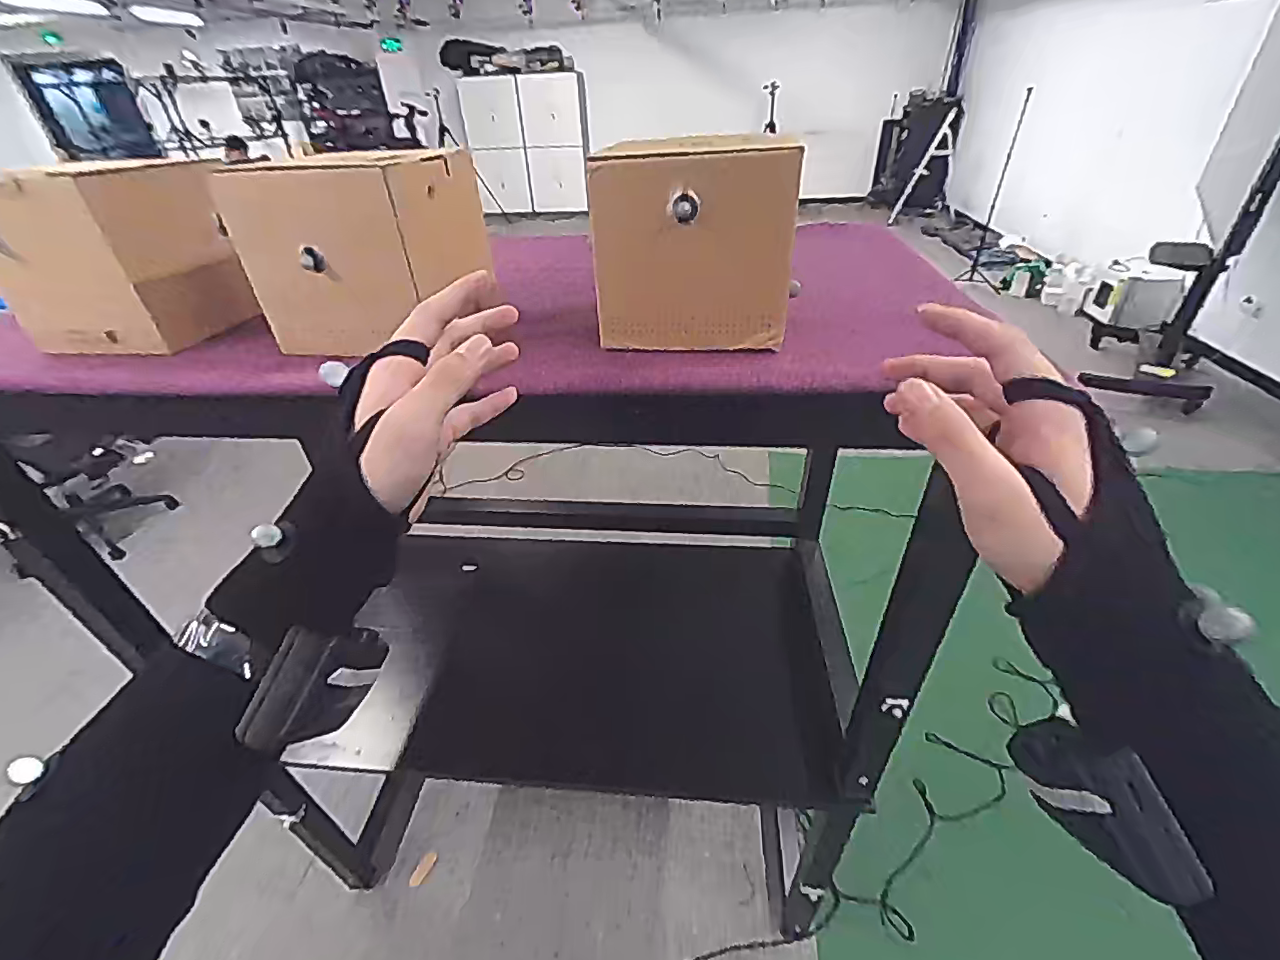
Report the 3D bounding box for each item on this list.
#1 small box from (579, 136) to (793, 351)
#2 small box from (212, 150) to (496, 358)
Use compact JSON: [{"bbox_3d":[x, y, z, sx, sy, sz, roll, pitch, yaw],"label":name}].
[{"bbox_3d":[0.052,-0.236,0.540,0.179,0.176,0.168,3,36,10],"label":"small box"},{"bbox_3d":[-0.272,-0.236,0.566,0.179,0.176,0.168,3,36,11],"label":"small box"}]
